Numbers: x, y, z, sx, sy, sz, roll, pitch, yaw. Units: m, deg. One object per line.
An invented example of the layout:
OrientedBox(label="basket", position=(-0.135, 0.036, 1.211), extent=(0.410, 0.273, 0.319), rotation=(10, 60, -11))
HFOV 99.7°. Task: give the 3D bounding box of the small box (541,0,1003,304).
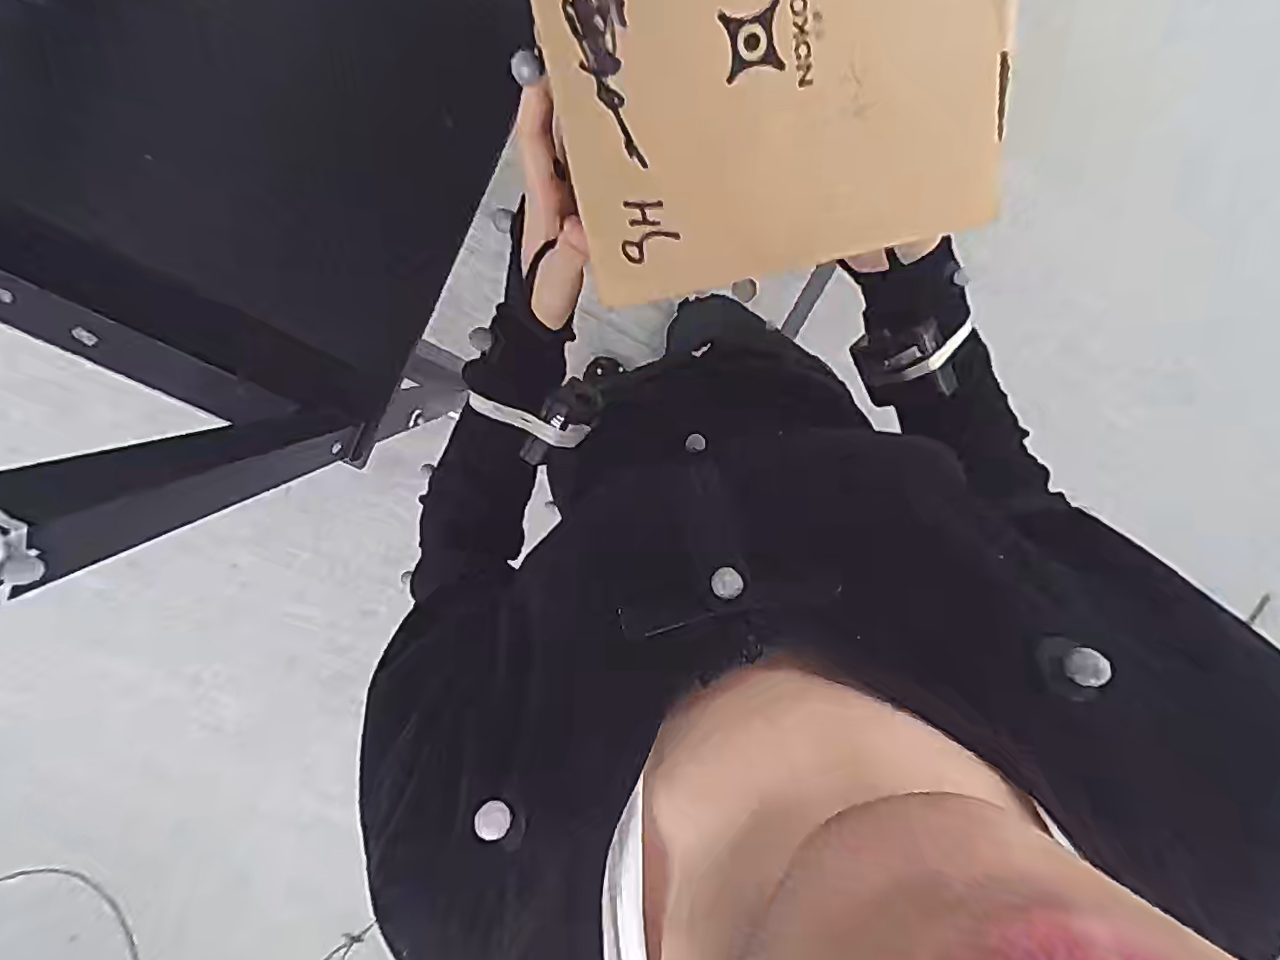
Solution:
OrientedBox(label="small box", position=(0.050, -0.195, 0.283), extent=(0.179, 0.176, 0.168), rotation=(-11, 109, 2))
